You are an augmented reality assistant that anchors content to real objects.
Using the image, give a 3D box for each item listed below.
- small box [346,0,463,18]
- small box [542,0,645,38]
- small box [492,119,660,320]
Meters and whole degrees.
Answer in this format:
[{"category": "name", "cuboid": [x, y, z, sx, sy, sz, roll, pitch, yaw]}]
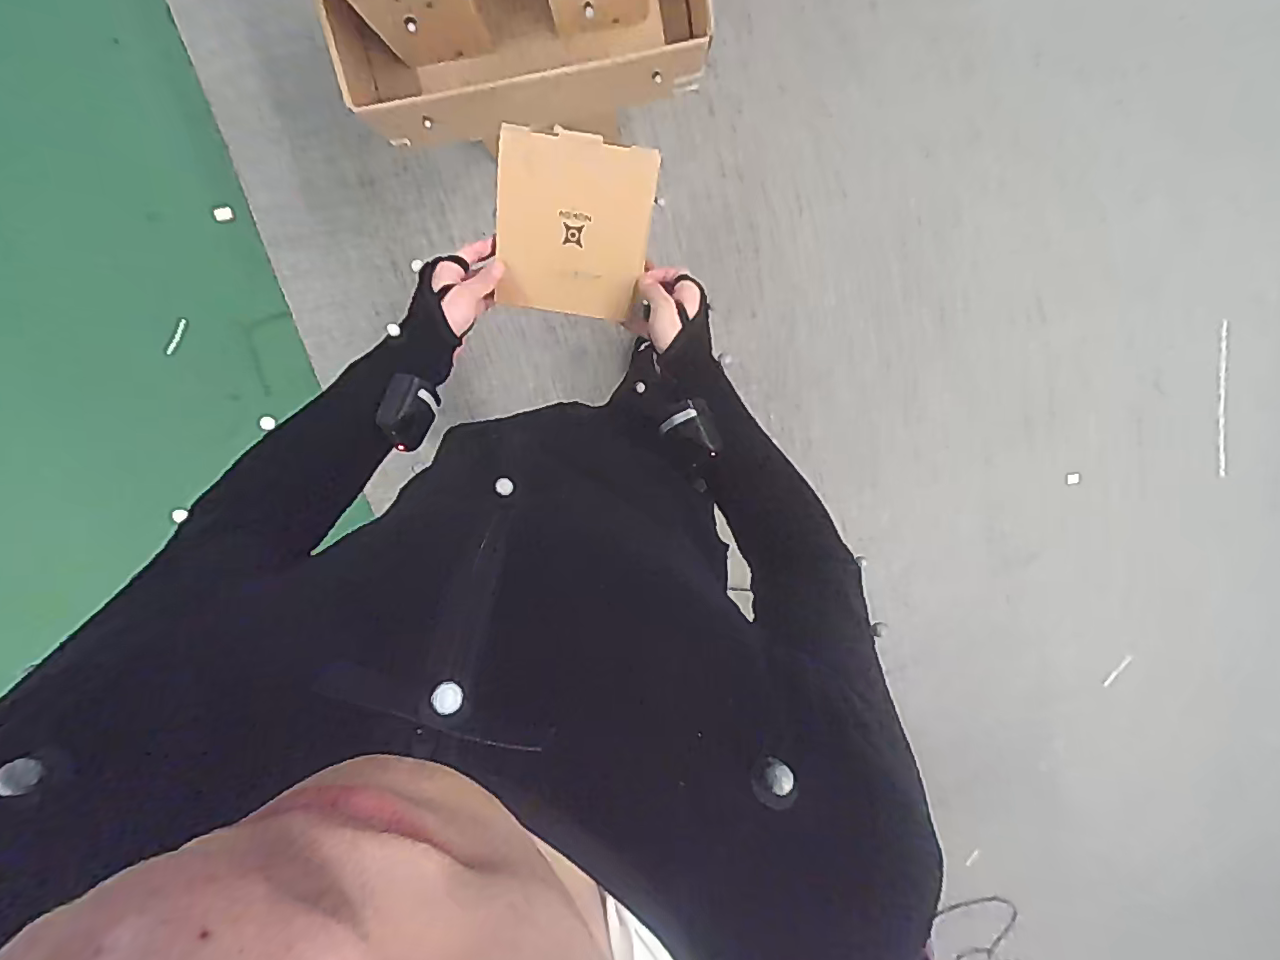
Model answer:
[{"category": "small box", "cuboid": [-0.354, -0.766, 0.727, 0.168, 0.176, 0.179, -8, 106, 1]}, {"category": "small box", "cuboid": [-0.083, -0.858, 0.873, 0.168, 0.176, 0.179, -9, 106, 3]}, {"category": "small box", "cuboid": [-0.074, -0.305, 0.650, 0.168, 0.176, 0.179, 8, 116, -4]}]
